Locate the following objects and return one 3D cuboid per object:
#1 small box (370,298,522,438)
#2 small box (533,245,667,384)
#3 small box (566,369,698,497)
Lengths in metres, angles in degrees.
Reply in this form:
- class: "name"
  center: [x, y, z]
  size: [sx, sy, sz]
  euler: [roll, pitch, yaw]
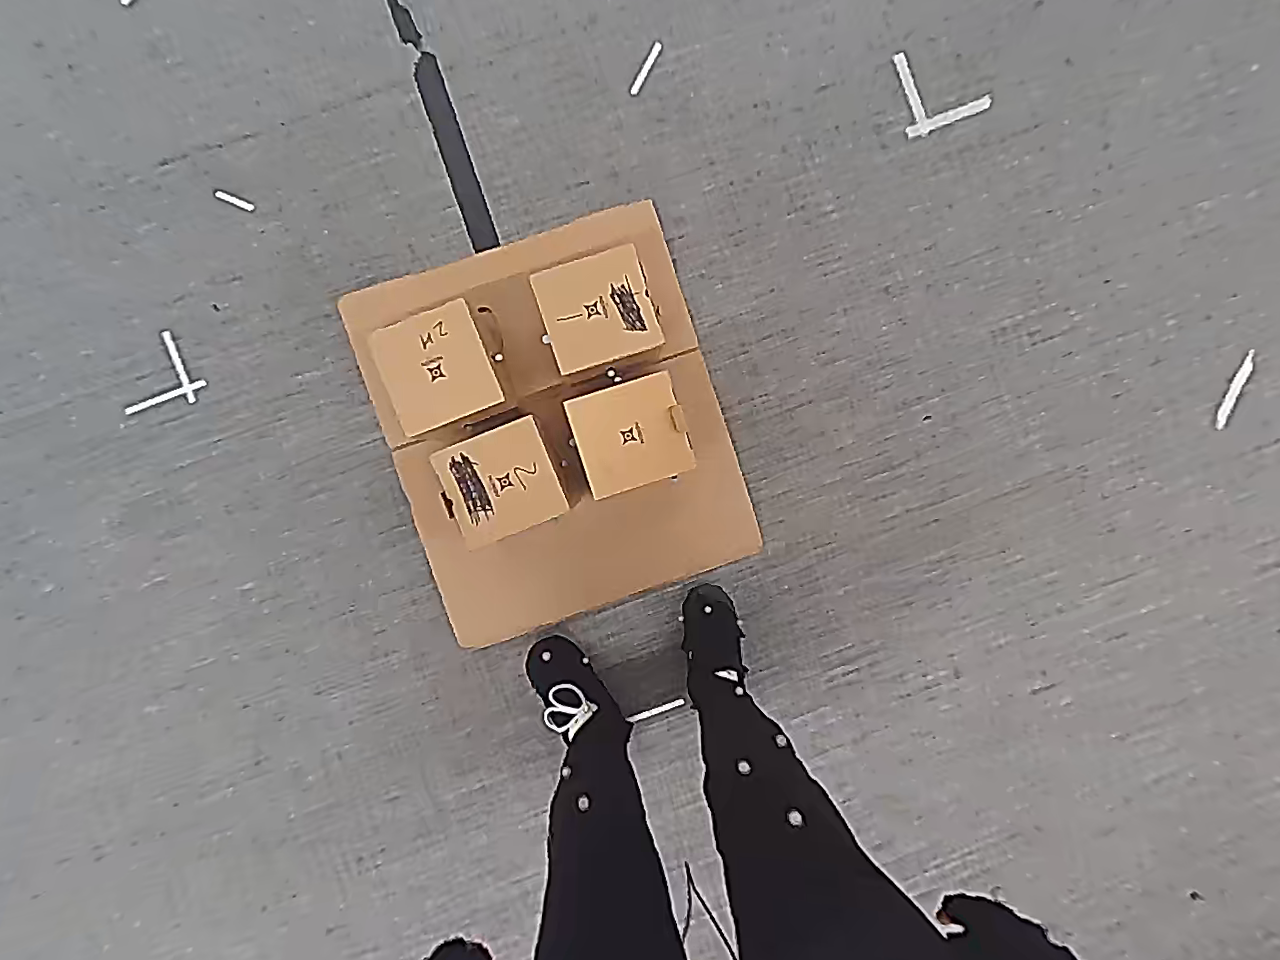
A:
- class: "small box"
  center: [-0.315, -0.180, 0.919]
  size: [0.168, 0.176, 0.179]
  euler: [-21, 93, -1]
- class: "small box"
  center: [-0.066, -0.271, 0.924]
  size: [0.179, 0.176, 0.168]
  euler: [-17, 94, -1]
- class: "small box"
  center: [-0.015, -0.076, 0.933]
  size: [0.179, 0.176, 0.168]
  euler: [-18, 93, -2]
